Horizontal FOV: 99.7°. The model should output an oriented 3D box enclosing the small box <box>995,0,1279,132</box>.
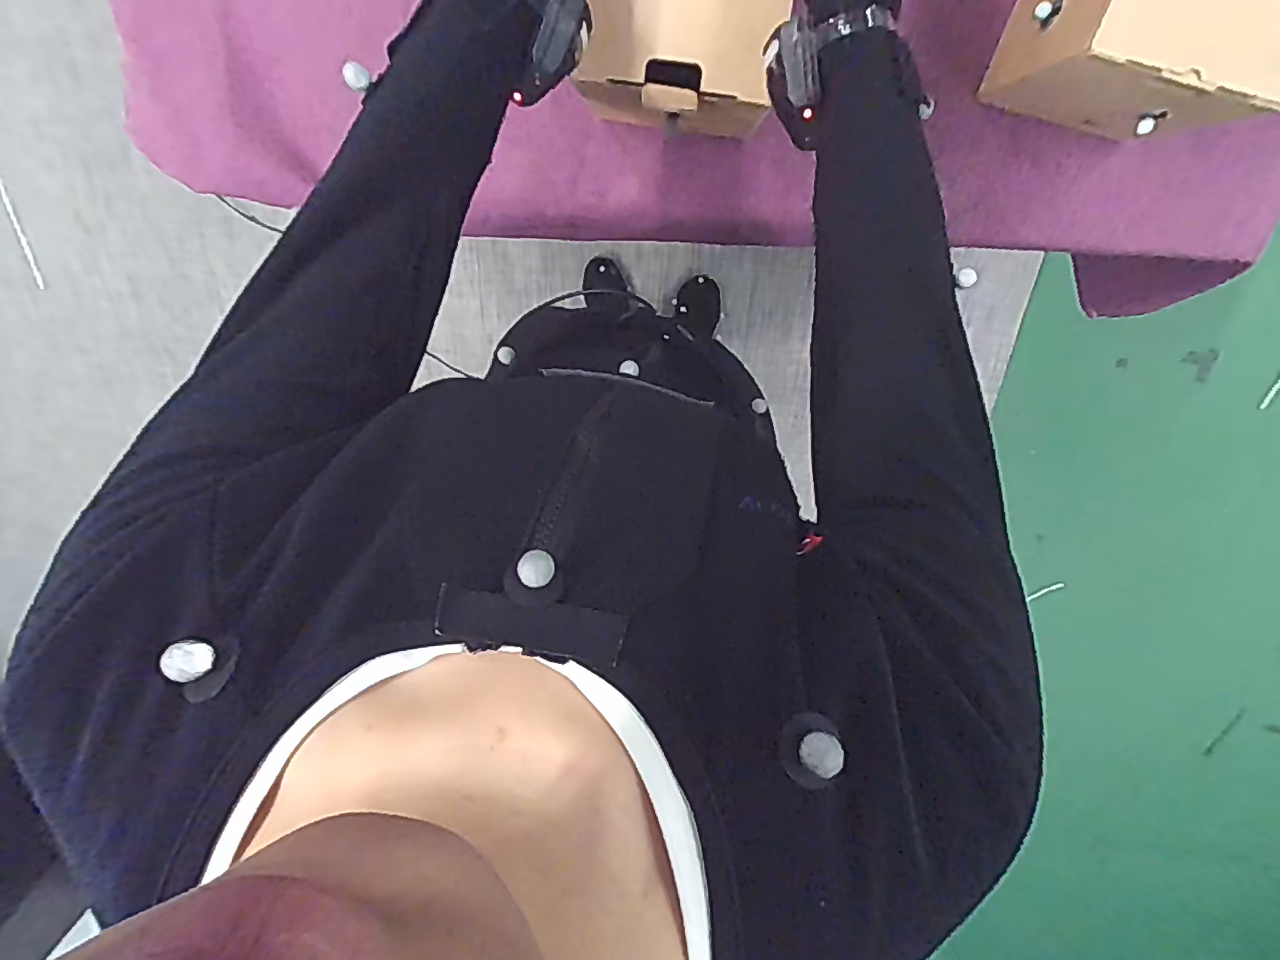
[{"bbox_3d":[0.428,-0.403,0.431,0.168,0.176,0.179,14,115,-3],"label":"small box"}]
